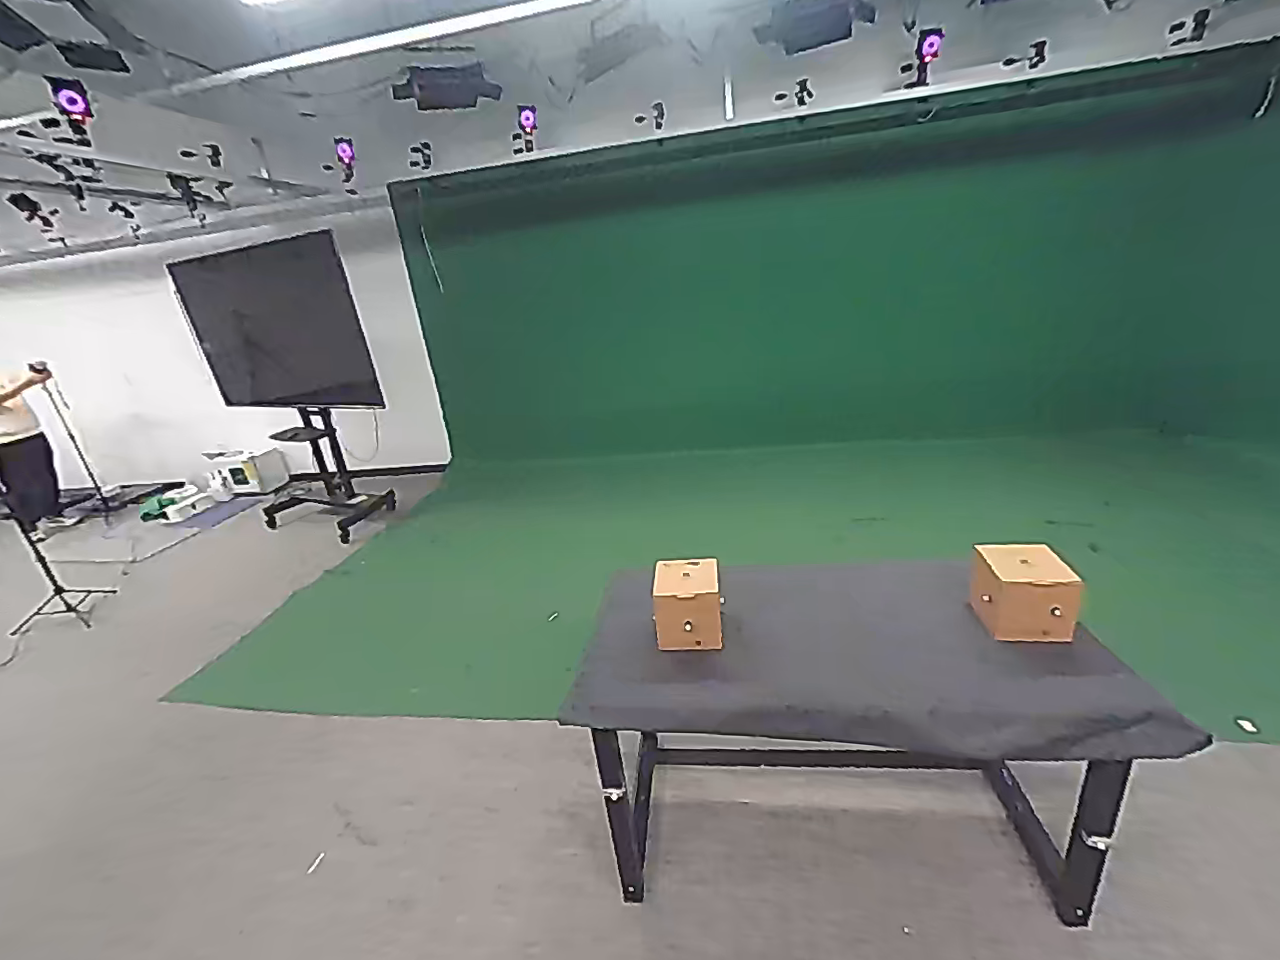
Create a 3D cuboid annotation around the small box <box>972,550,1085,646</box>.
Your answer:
[{"bbox_3d":[0.935,0.285,1.317,0.168,0.176,0.179,-2,20,12],"label":"small box"}]

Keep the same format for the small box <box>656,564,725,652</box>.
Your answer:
[{"bbox_3d":[0.137,0.341,1.435,0.168,0.176,0.179,-3,21,8],"label":"small box"}]
